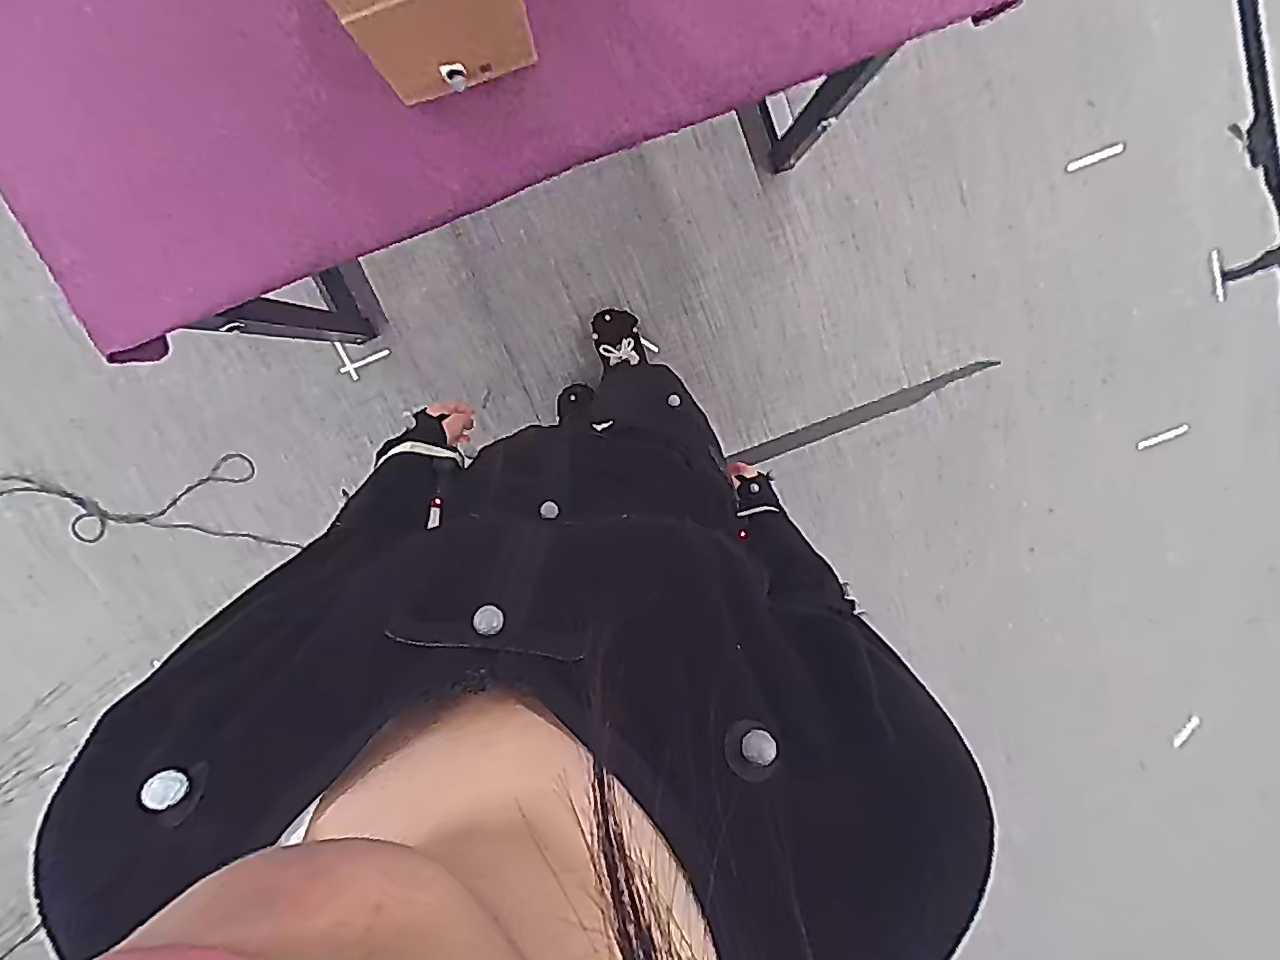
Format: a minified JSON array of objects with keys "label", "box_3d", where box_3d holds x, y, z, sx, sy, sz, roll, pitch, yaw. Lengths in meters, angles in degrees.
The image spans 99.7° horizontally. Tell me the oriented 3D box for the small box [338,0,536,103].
[{"label":"small box","box_3d":[-0.218,-0.532,0.543,0.168,0.176,0.179,-19,102,1]}]
